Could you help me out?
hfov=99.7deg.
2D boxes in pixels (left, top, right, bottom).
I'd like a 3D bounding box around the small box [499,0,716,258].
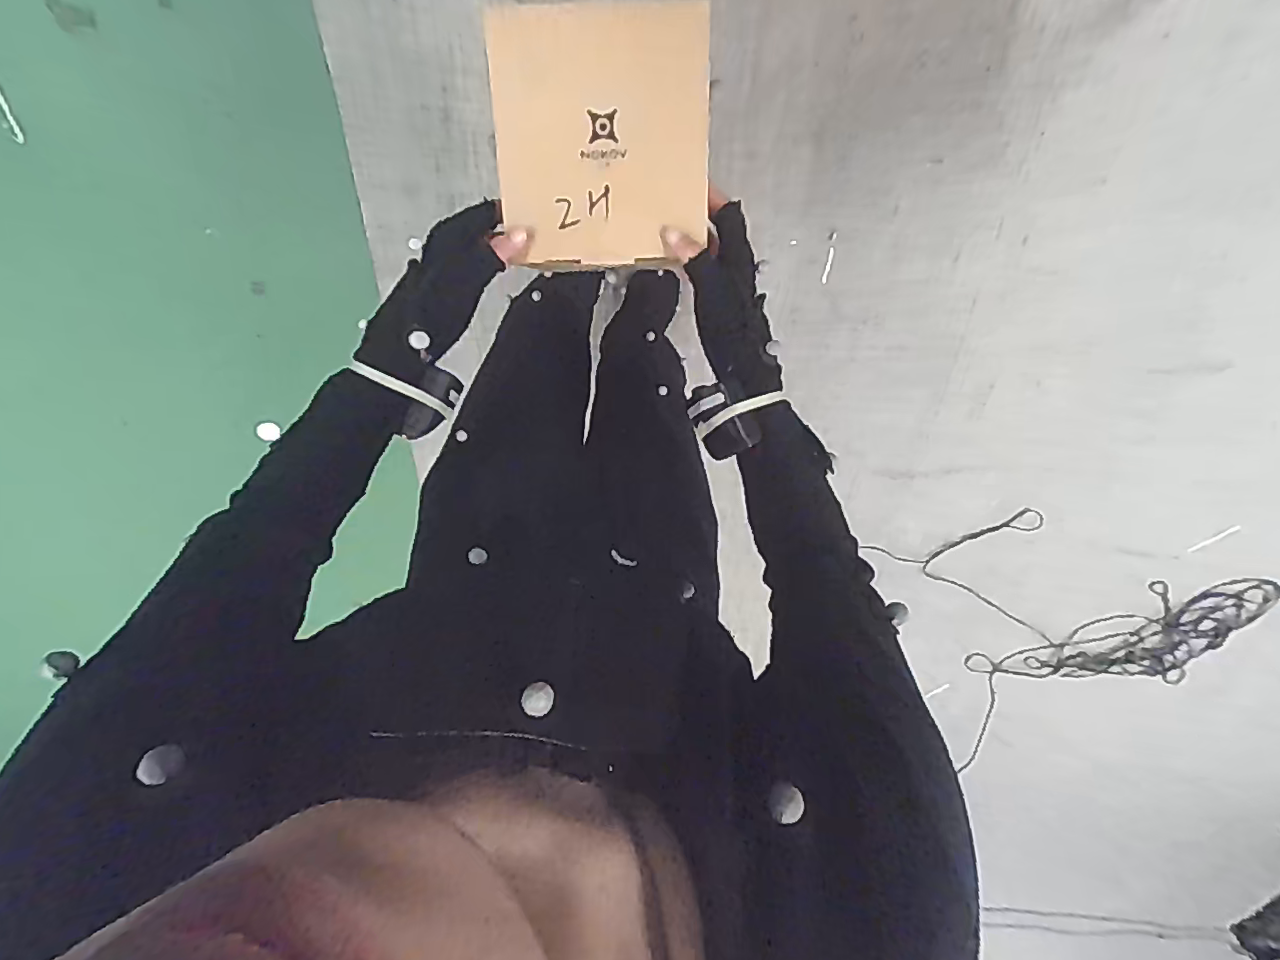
[{"bbox_3d":[-0.024,-0.308,0.504,0.168,0.176,0.179,-1,110,1],"label":"small box"}]
